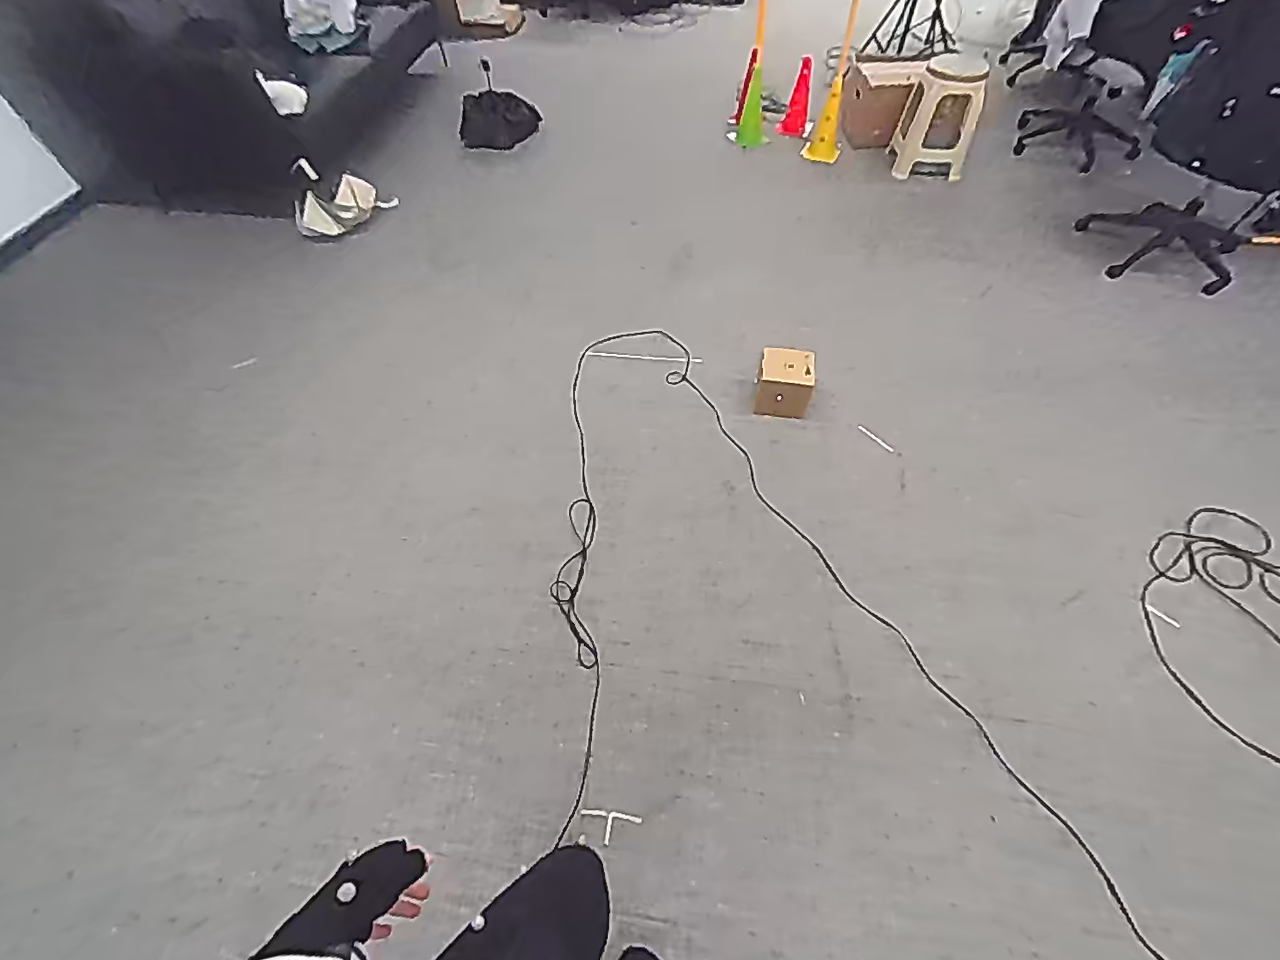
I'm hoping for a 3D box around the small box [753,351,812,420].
[{"bbox_3d":[0.498,-0.329,1.897,0.179,0.176,0.168,7,55,6],"label":"small box"}]
